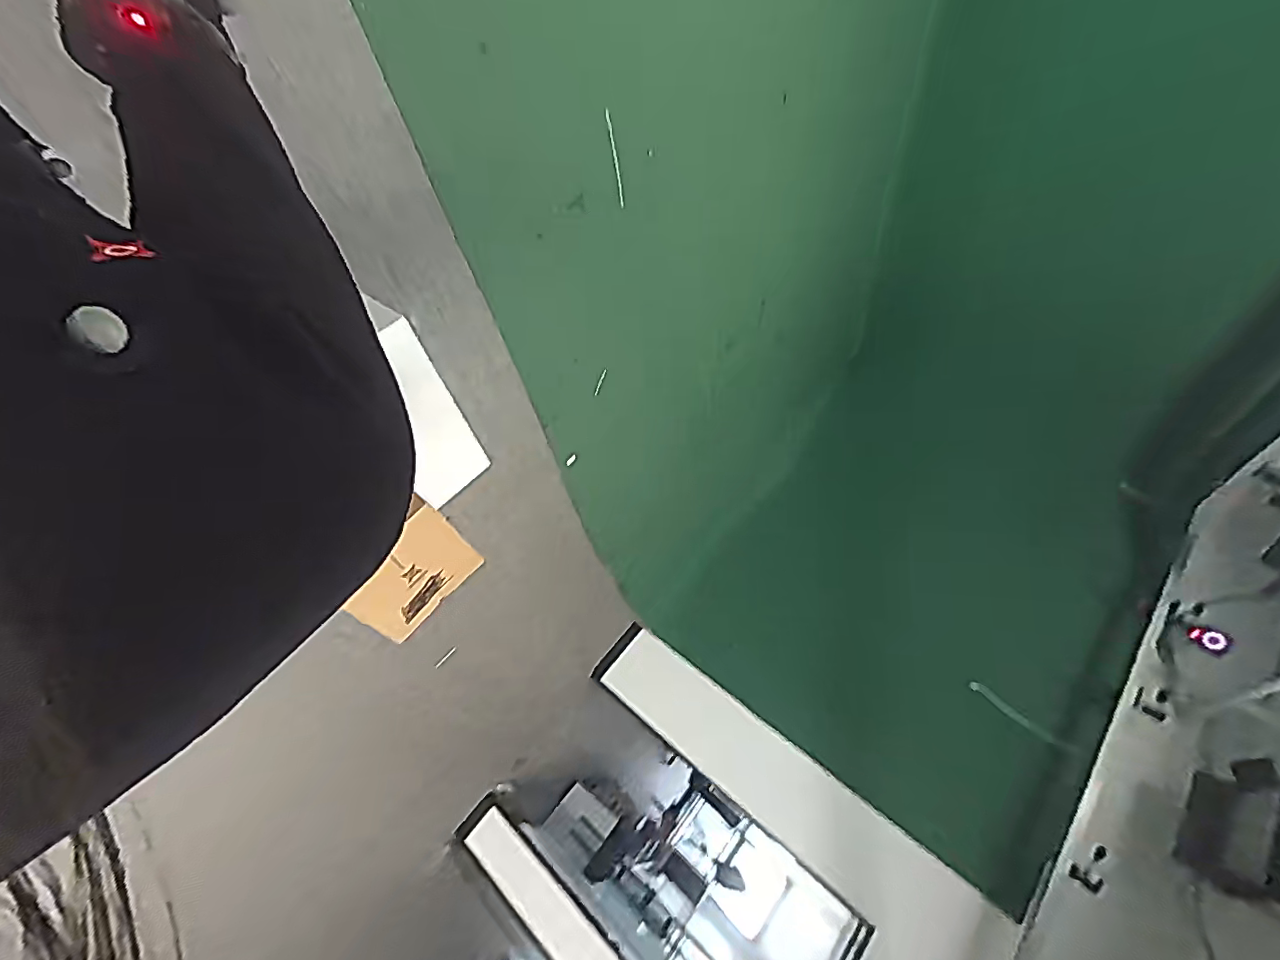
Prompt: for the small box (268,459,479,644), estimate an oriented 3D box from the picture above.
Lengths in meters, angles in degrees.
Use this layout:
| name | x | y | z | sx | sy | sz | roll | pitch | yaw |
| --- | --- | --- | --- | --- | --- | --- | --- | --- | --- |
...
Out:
| name | x | y | z | sx | sy | sz | roll | pitch | yaw |
| --- | --- | --- | --- | --- | --- | --- | --- | --- | --- |
| small box | -0.372 | 0.099 | 0.770 | 0.168 | 0.176 | 0.179 | -48 | 151 | -17 |
